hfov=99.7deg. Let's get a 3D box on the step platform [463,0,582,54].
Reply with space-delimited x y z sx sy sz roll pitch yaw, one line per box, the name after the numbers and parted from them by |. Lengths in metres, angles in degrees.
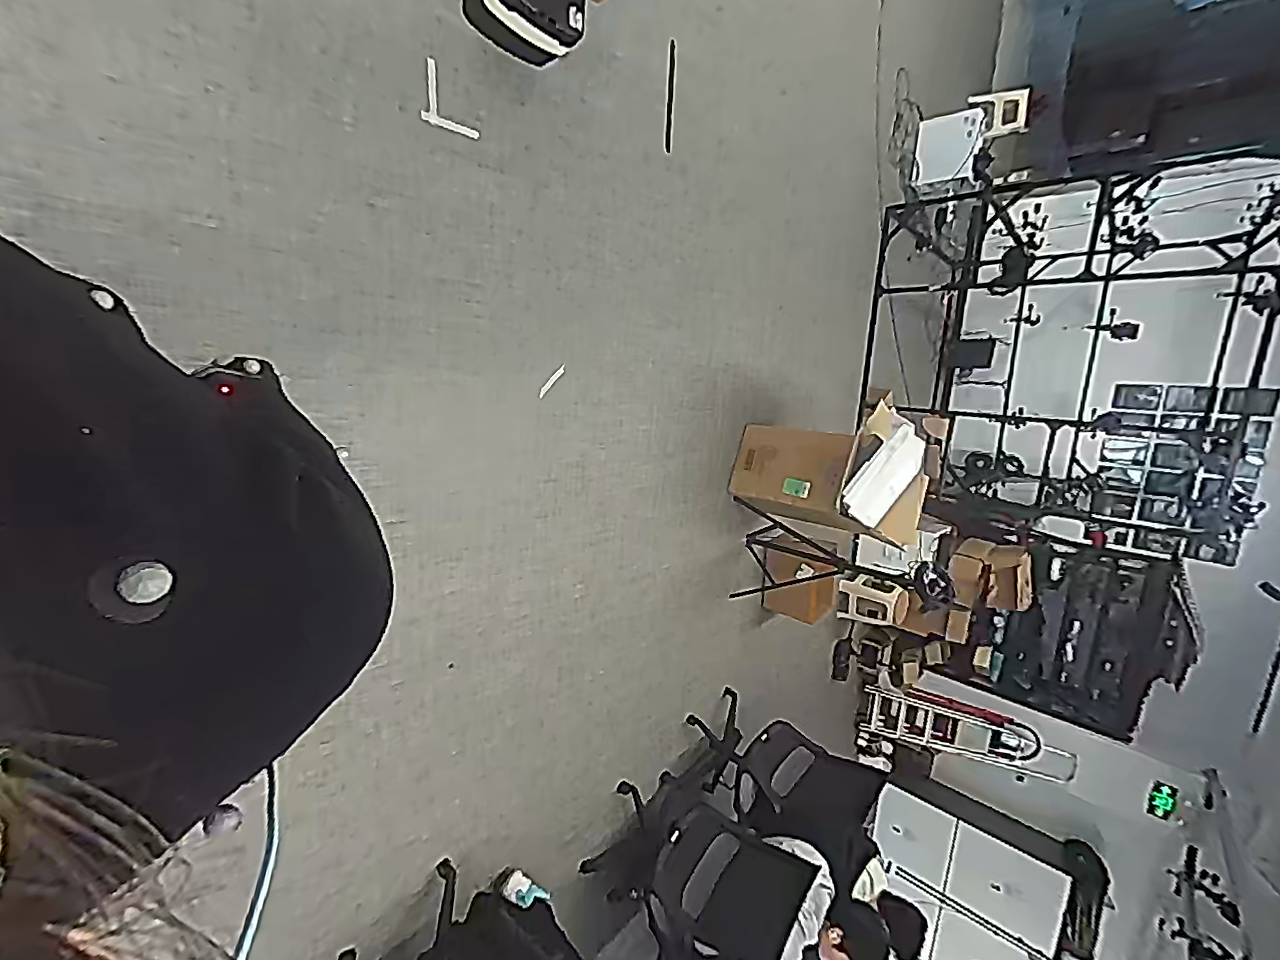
-0.288 -1.601 1.463 0.286 0.204 0.684 1 98 -48 | step platform
